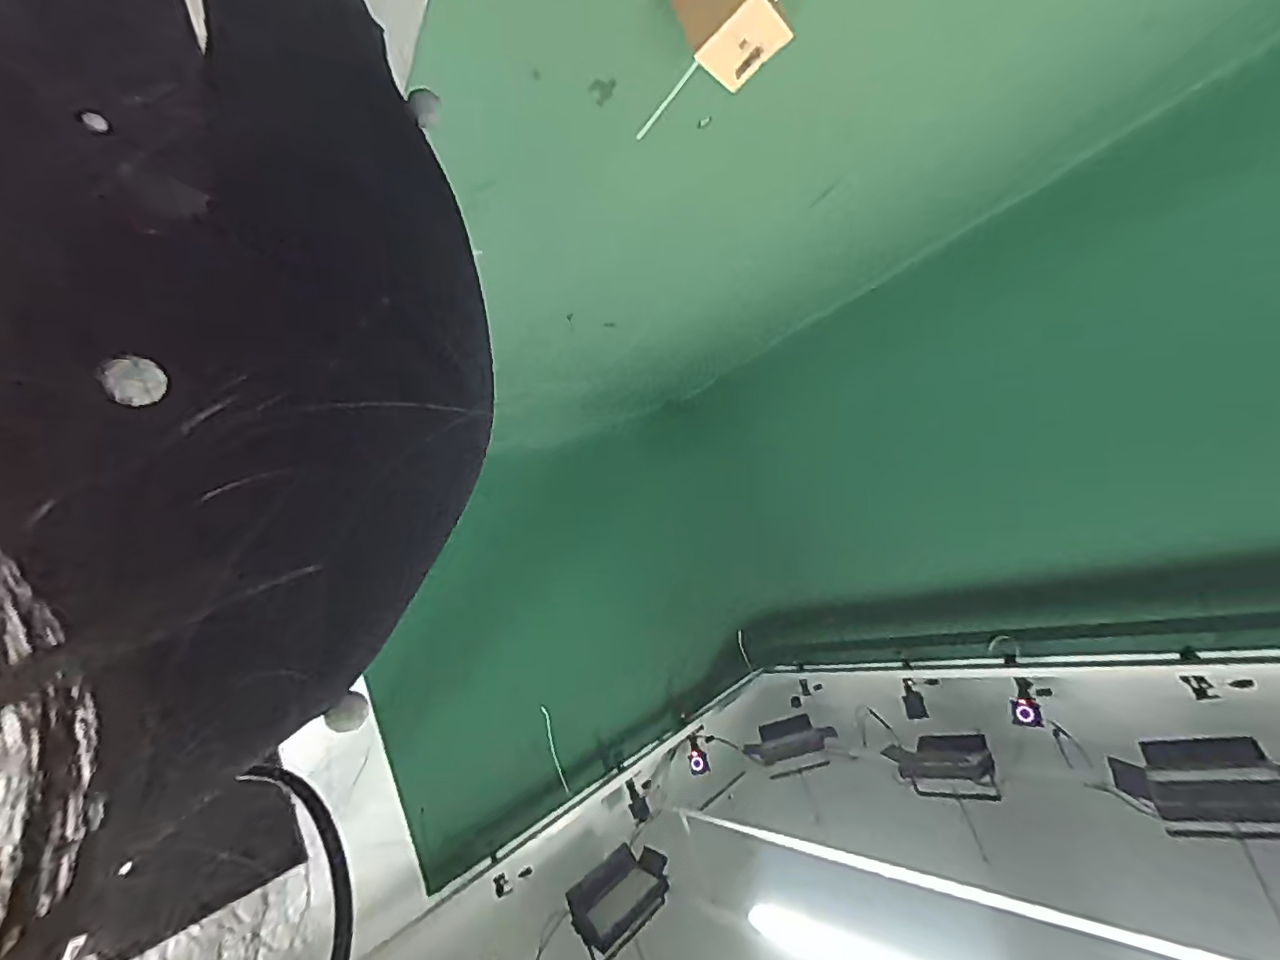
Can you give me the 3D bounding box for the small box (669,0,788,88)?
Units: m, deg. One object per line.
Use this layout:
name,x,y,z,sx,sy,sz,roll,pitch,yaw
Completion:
small box,0.188,-1.010,1.162,0.168,0.176,0.179,-25,171,38
